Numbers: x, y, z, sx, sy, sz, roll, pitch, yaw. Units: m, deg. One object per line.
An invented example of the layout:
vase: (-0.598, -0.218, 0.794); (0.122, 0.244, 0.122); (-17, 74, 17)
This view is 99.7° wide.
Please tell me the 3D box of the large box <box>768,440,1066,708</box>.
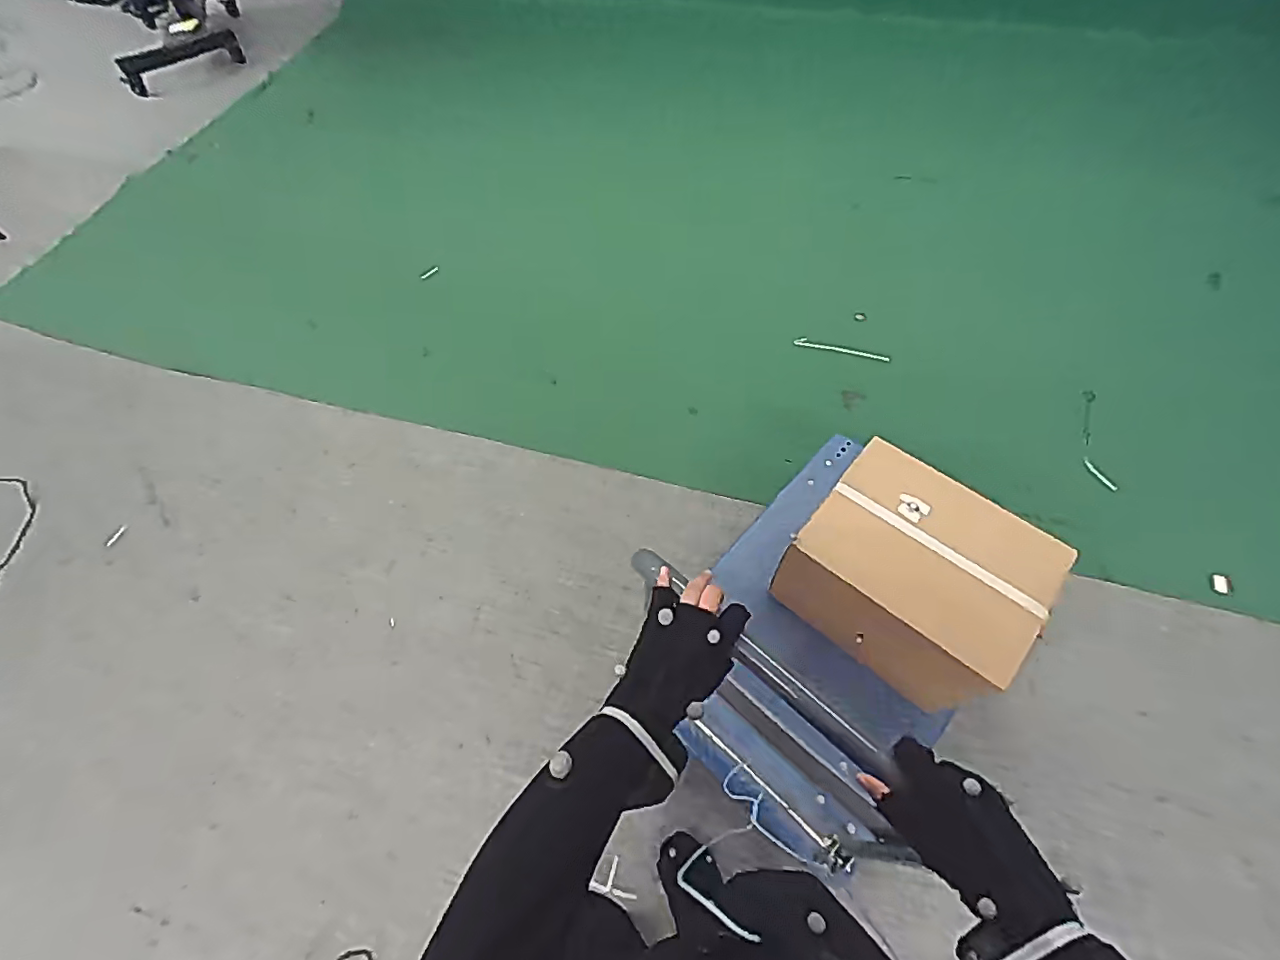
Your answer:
large box: (0.529, 0.198, 1.116); (0.408, 0.320, 0.320); (36, 68, 23)
